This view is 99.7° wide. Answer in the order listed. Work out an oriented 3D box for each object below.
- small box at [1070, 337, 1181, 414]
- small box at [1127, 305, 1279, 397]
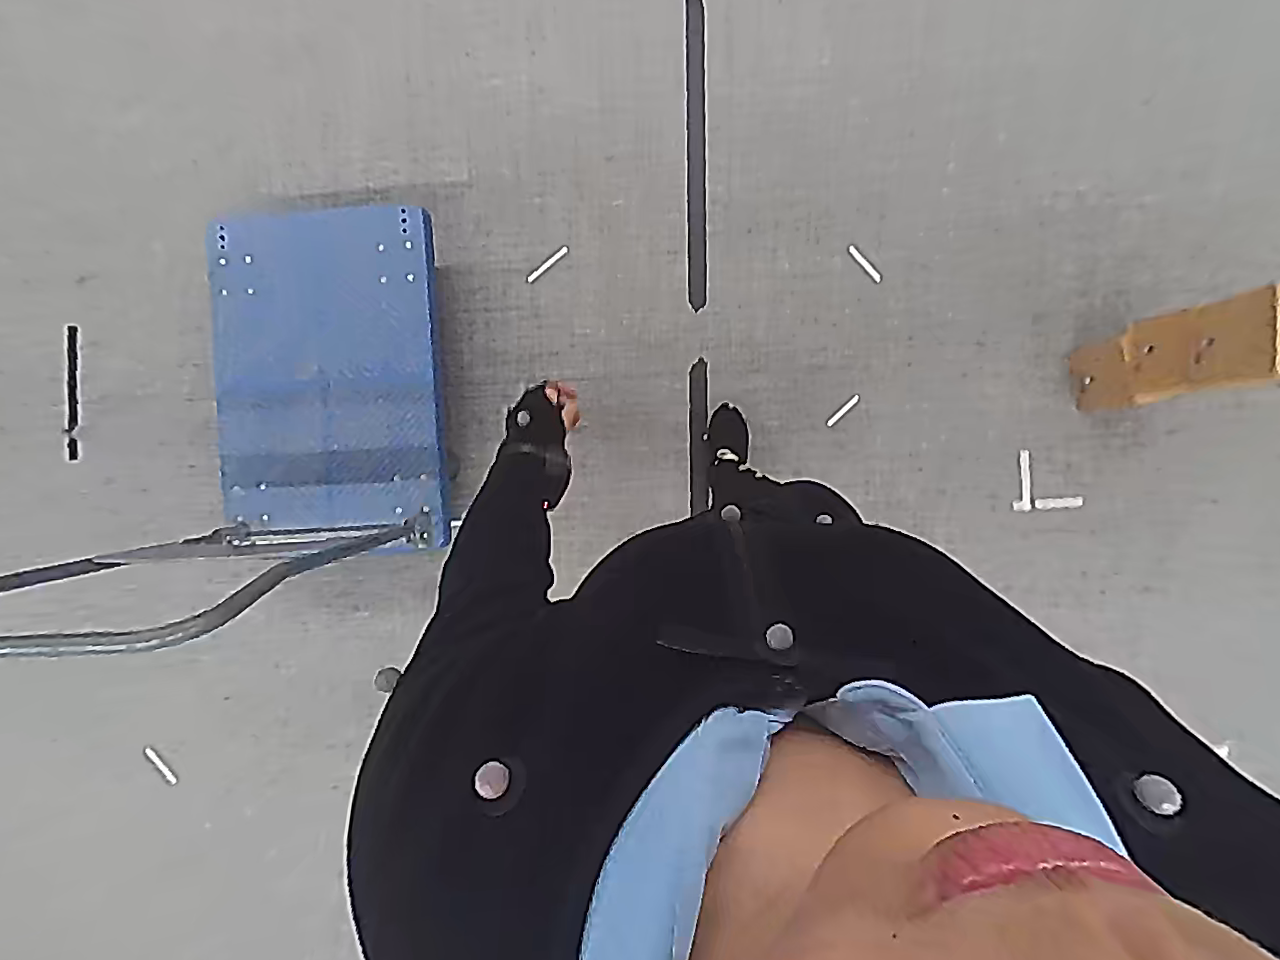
[{"bbox_3d":[1.220,-0.267,1.331,0.179,0.176,0.168,-13,89,4],"label":"small box"},{"bbox_3d":[1.215,-0.272,1.168,0.179,0.176,0.168,-1,91,4],"label":"small box"}]
